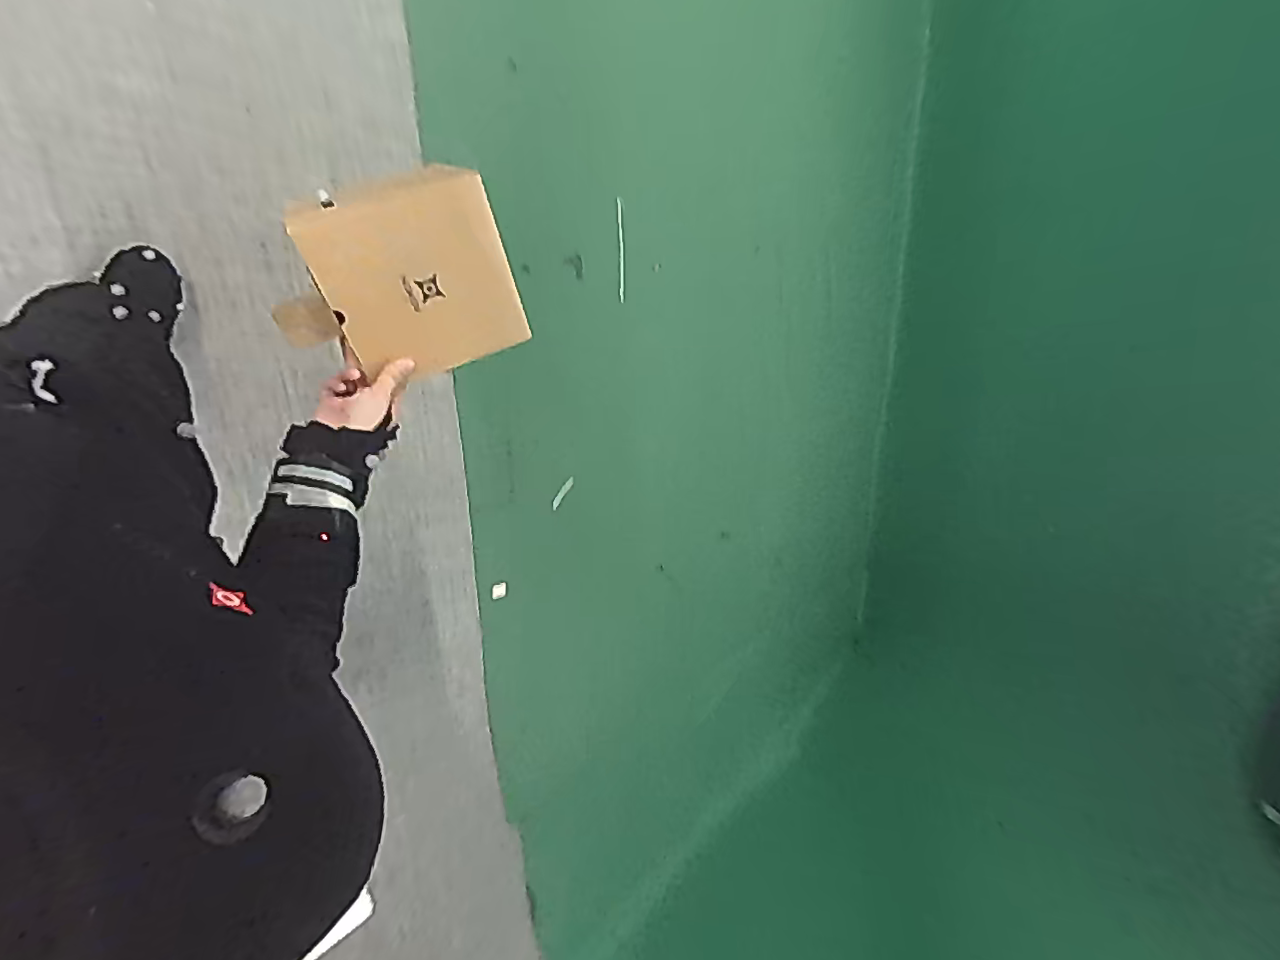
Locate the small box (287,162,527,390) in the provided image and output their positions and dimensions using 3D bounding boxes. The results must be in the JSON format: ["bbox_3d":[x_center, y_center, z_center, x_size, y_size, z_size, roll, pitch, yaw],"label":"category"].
[{"bbox_3d":[-0.249,-0.227,0.579,0.179,0.176,0.168,-26,131,-16],"label":"small box"}]
